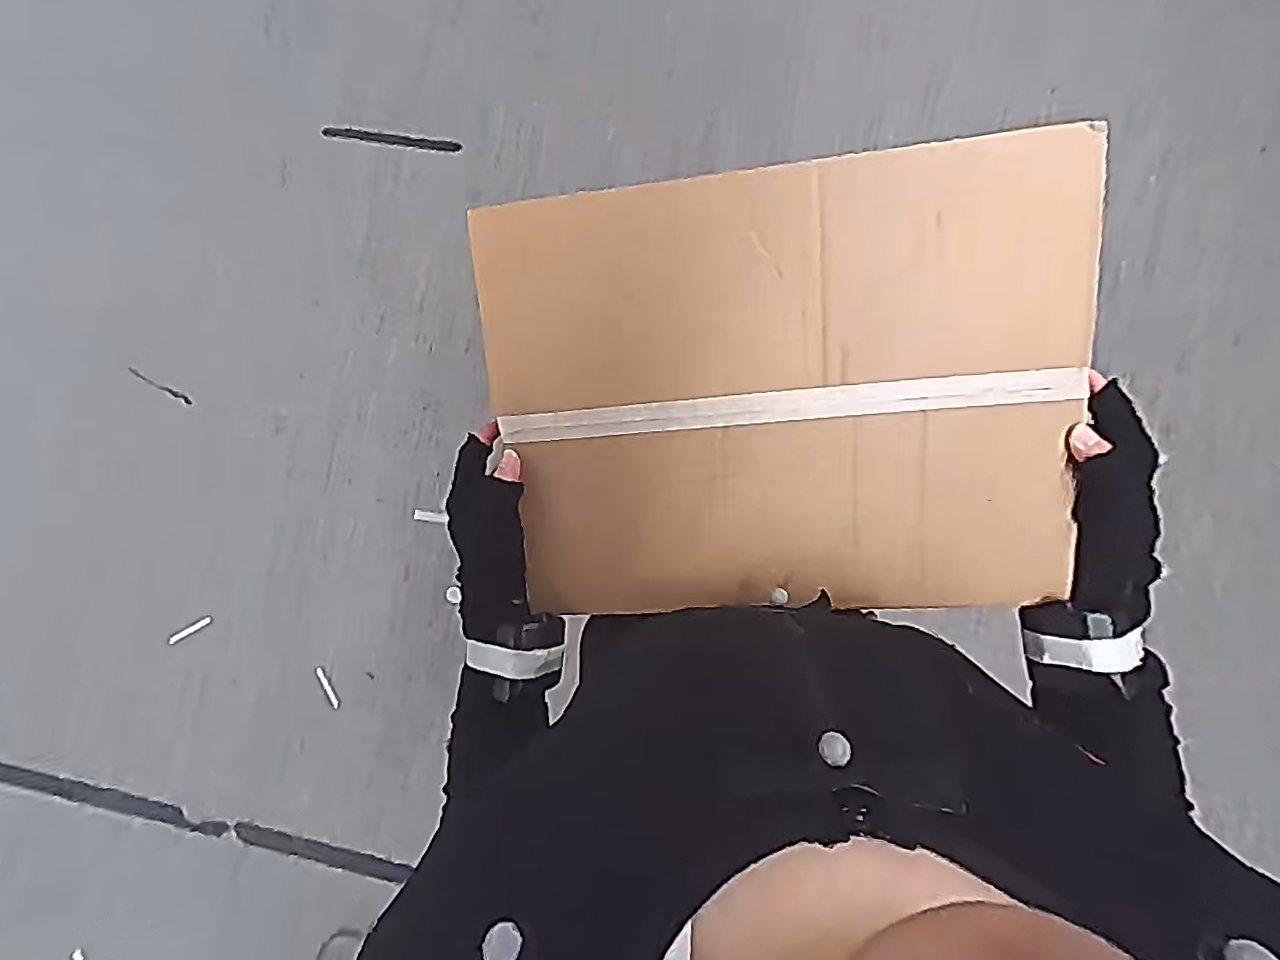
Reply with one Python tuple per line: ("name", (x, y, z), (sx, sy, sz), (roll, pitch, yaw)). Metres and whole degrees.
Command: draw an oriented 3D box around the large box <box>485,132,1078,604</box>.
("large box", (0.113, -0.089, 0.544), (0.408, 0.320, 0.320), (-3, 104, 9))
